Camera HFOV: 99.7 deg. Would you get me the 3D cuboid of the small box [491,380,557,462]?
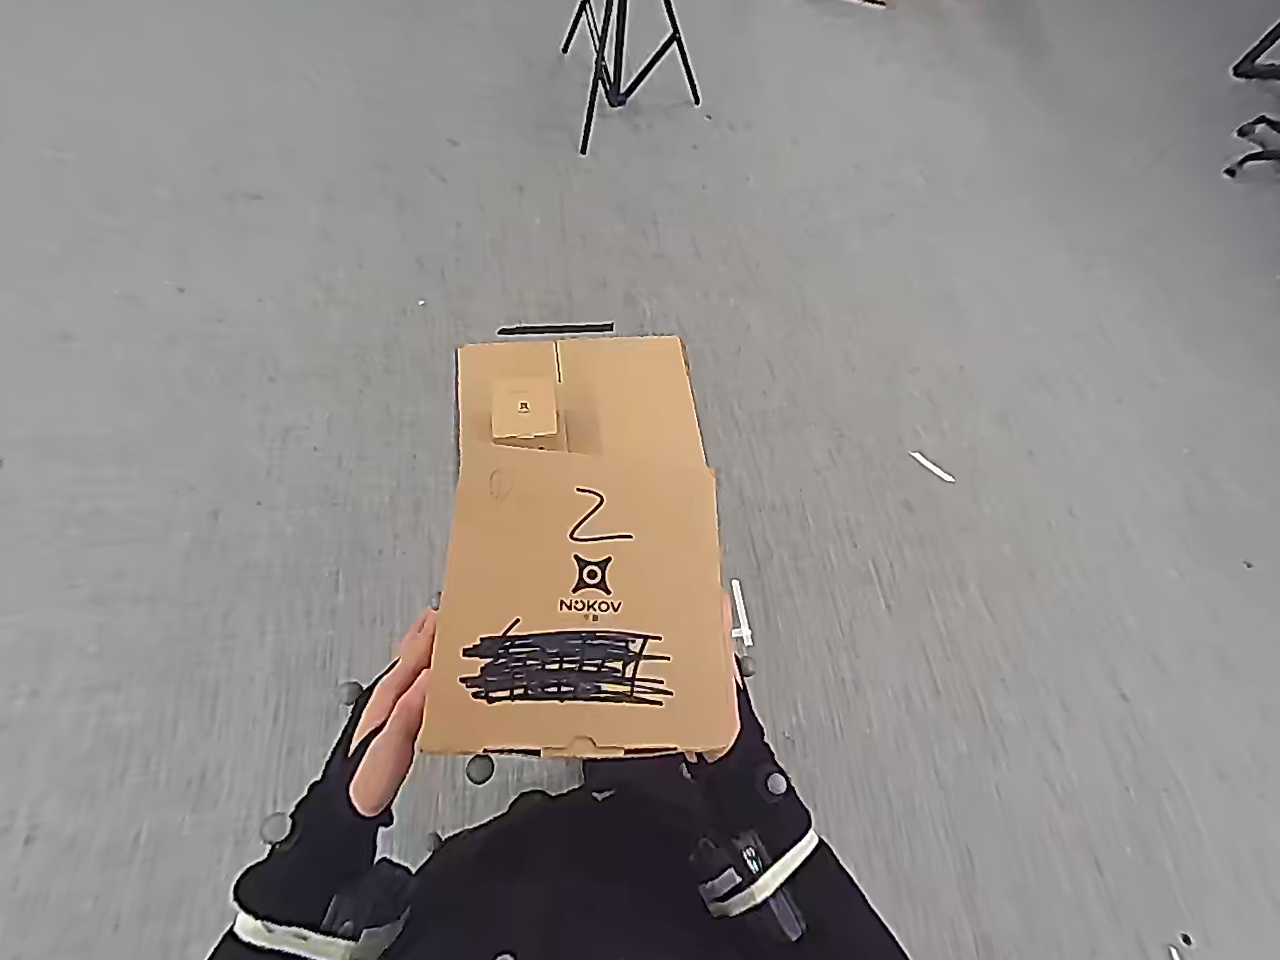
[{"bbox_3d":[-0.315,-0.155,1.484,0.168,0.176,0.179,-4,68,-10],"label":"small box"}]
